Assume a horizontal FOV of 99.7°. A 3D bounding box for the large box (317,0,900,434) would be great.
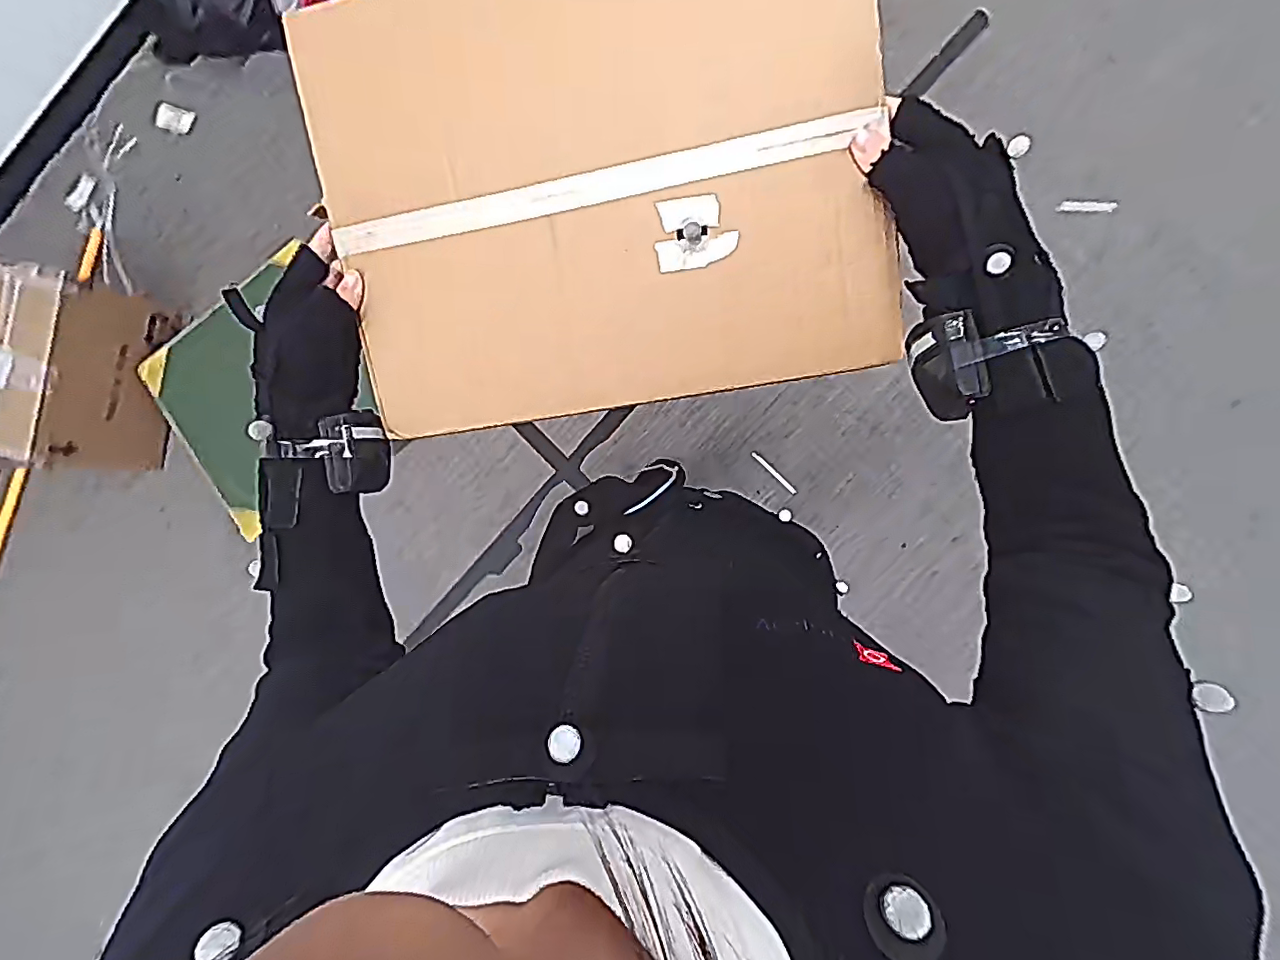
[{"bbox_3d":[-0.011,-0.243,0.547,0.408,0.320,0.320,-8,101,7],"label":"large box"}]
